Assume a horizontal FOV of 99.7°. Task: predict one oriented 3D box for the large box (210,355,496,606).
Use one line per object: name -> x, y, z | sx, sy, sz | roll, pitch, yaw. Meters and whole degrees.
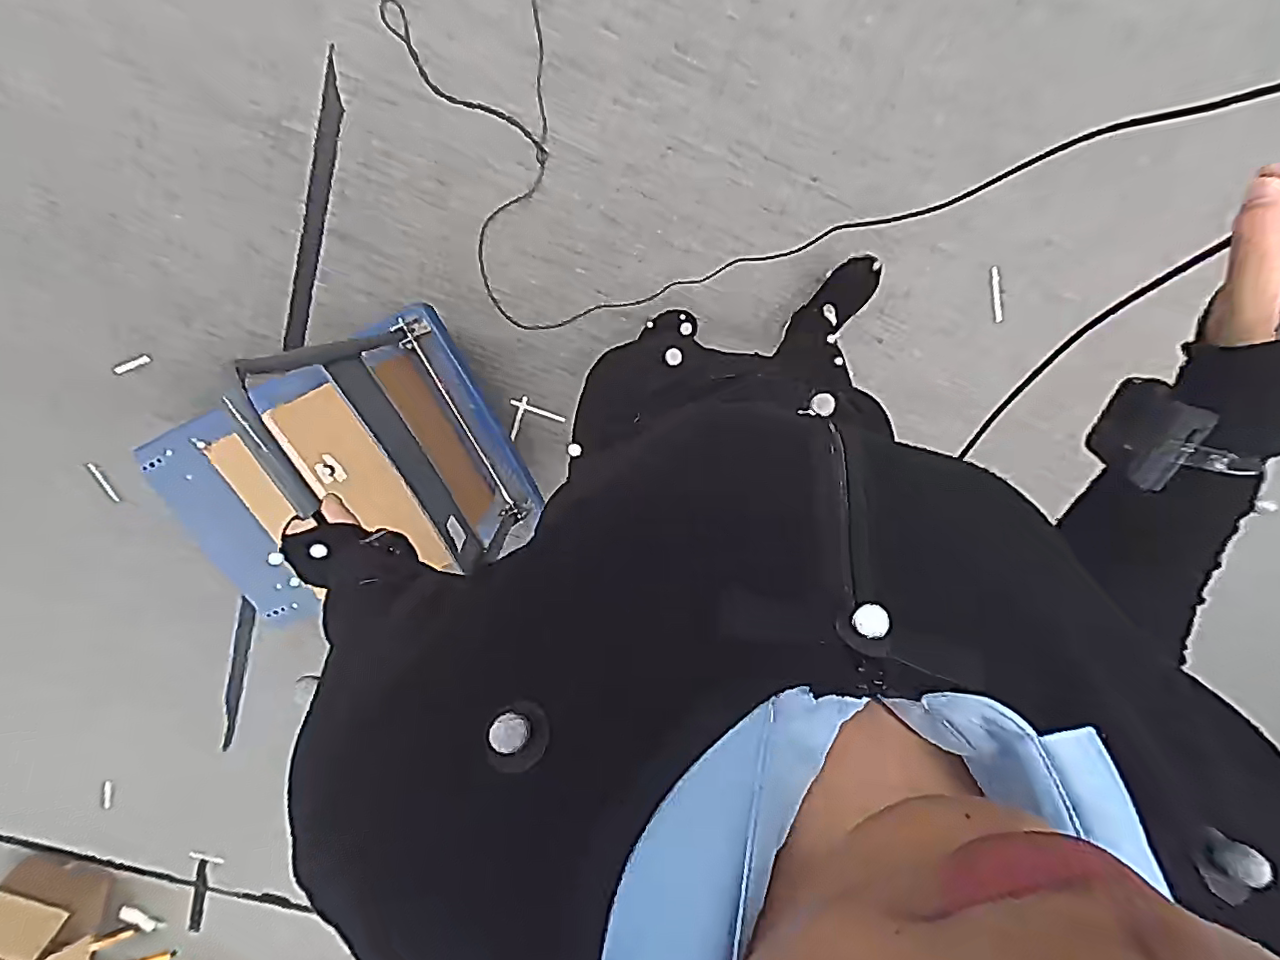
large box -> -0.582, -0.010, 1.186 | 0.320, 0.320, 0.408 | -23, 109, 9
